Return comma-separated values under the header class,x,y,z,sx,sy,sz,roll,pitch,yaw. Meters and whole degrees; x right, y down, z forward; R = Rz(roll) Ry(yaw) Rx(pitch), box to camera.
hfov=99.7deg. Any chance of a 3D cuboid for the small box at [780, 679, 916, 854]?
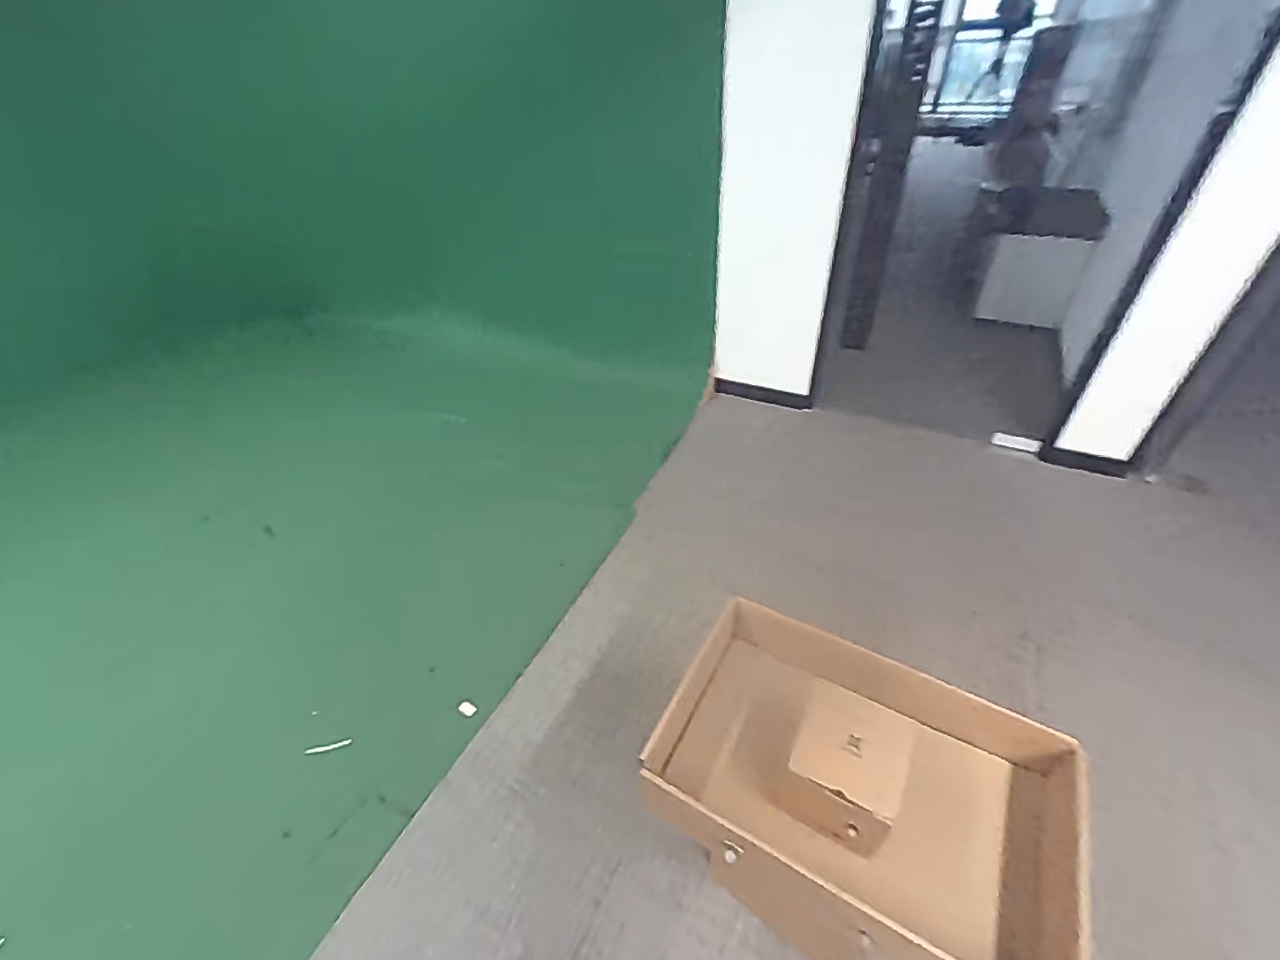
class,x,y,z,sx,sy,sz,roll,pitch,yaw
small box,0.345,0.485,0.916,0.168,0.176,0.179,19,43,23
